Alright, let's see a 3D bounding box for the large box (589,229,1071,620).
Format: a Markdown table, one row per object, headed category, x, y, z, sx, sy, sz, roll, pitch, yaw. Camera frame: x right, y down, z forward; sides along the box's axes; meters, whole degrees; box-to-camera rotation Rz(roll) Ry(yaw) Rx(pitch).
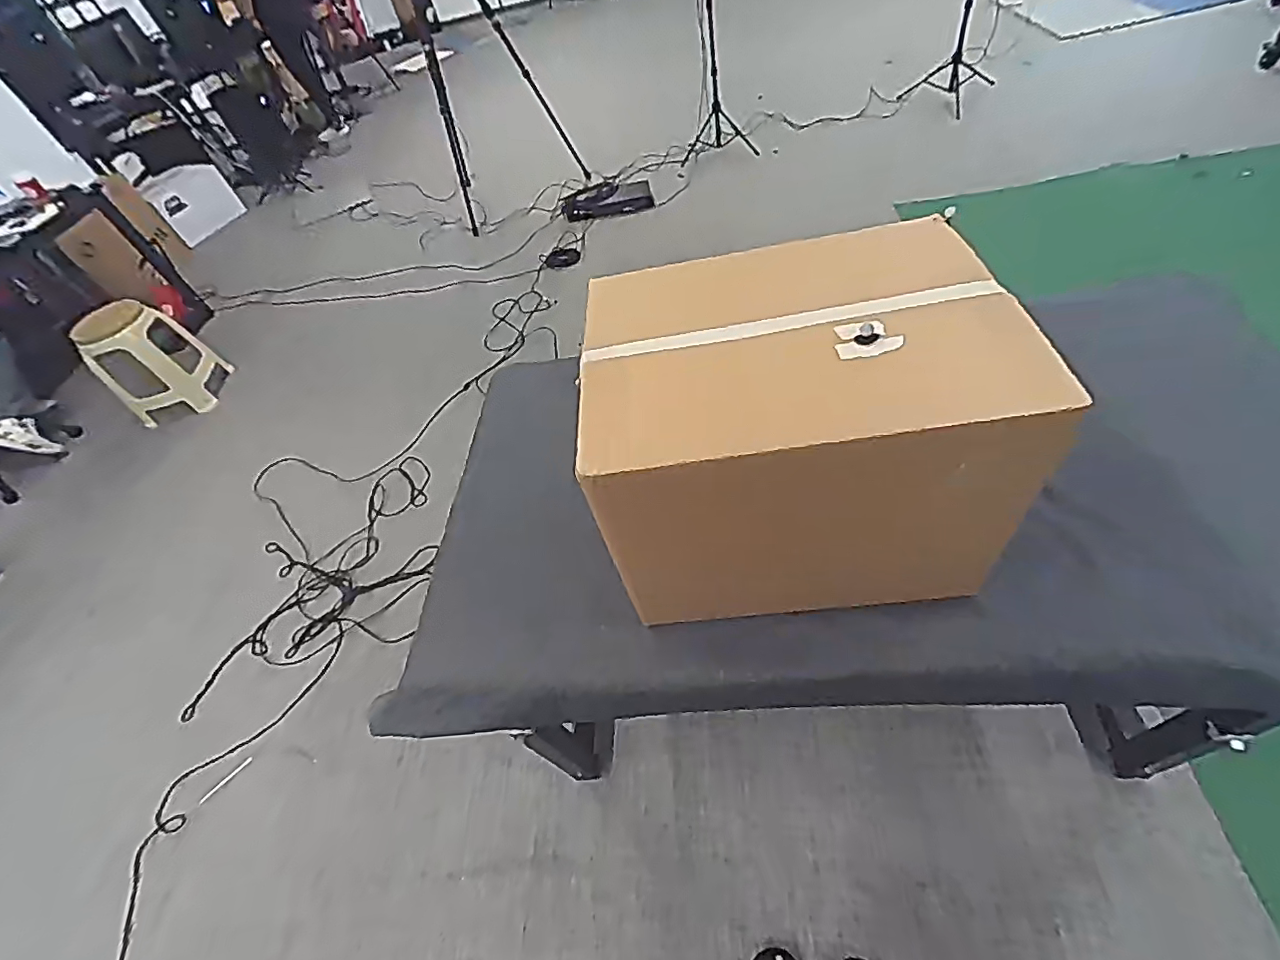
| category | x | y | z | sx | sy | sz | roll | pitch | yaw |
| --- | --- | --- | --- | --- | --- | --- | --- | --- | --- |
| large box | 0.168 | -0.052 | 0.655 | 0.408 | 0.320 | 0.320 | -7 | 51 | 7 |
